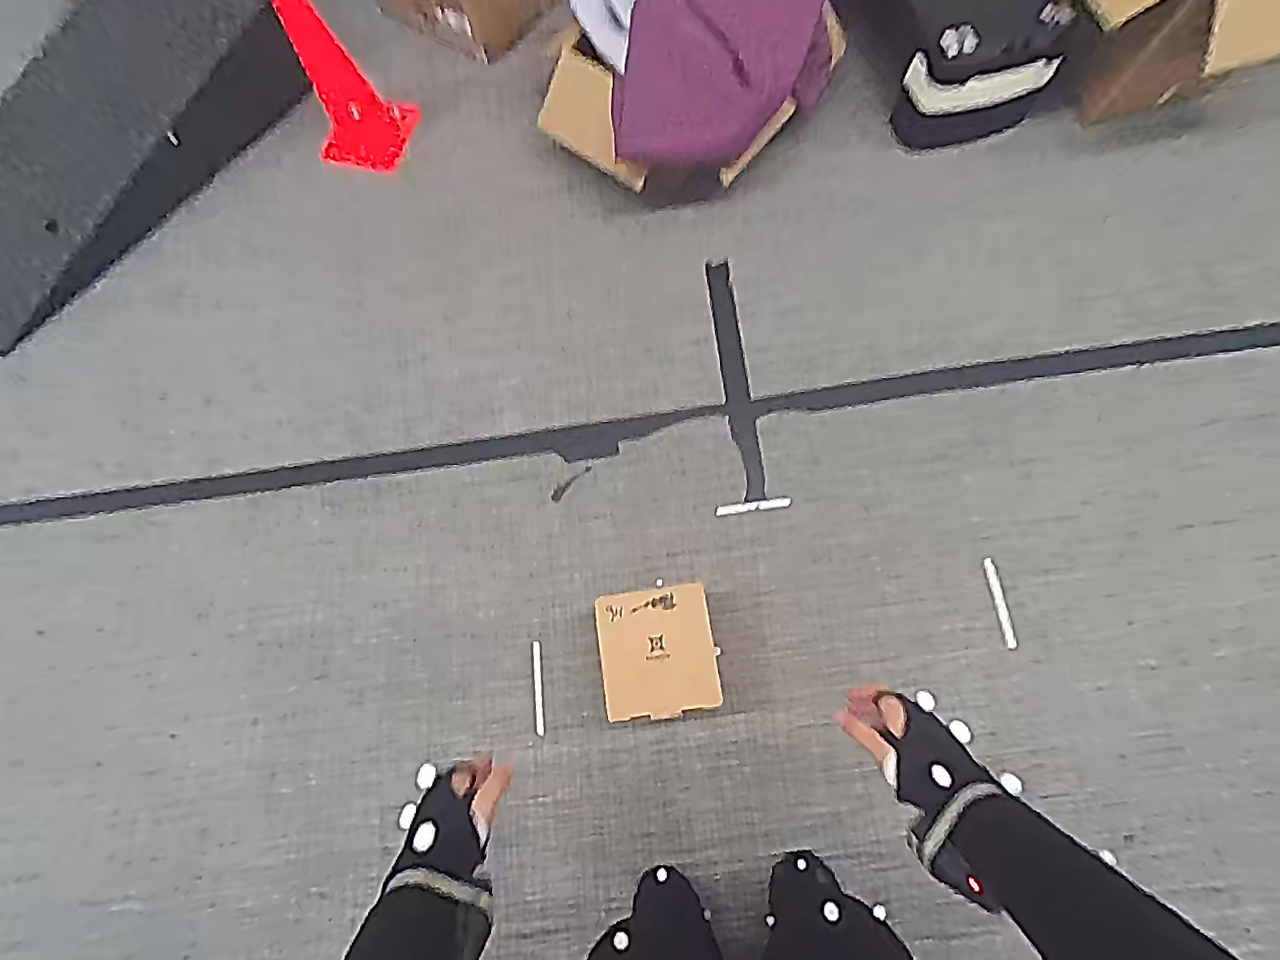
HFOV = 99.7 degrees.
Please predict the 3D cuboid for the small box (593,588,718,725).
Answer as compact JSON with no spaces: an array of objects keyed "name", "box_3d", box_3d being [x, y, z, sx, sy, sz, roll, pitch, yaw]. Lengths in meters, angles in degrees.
[{"name":"small box","box_3d":[0.026,0.273,0.858,0.168,0.176,0.179,-8,74,1]}]
